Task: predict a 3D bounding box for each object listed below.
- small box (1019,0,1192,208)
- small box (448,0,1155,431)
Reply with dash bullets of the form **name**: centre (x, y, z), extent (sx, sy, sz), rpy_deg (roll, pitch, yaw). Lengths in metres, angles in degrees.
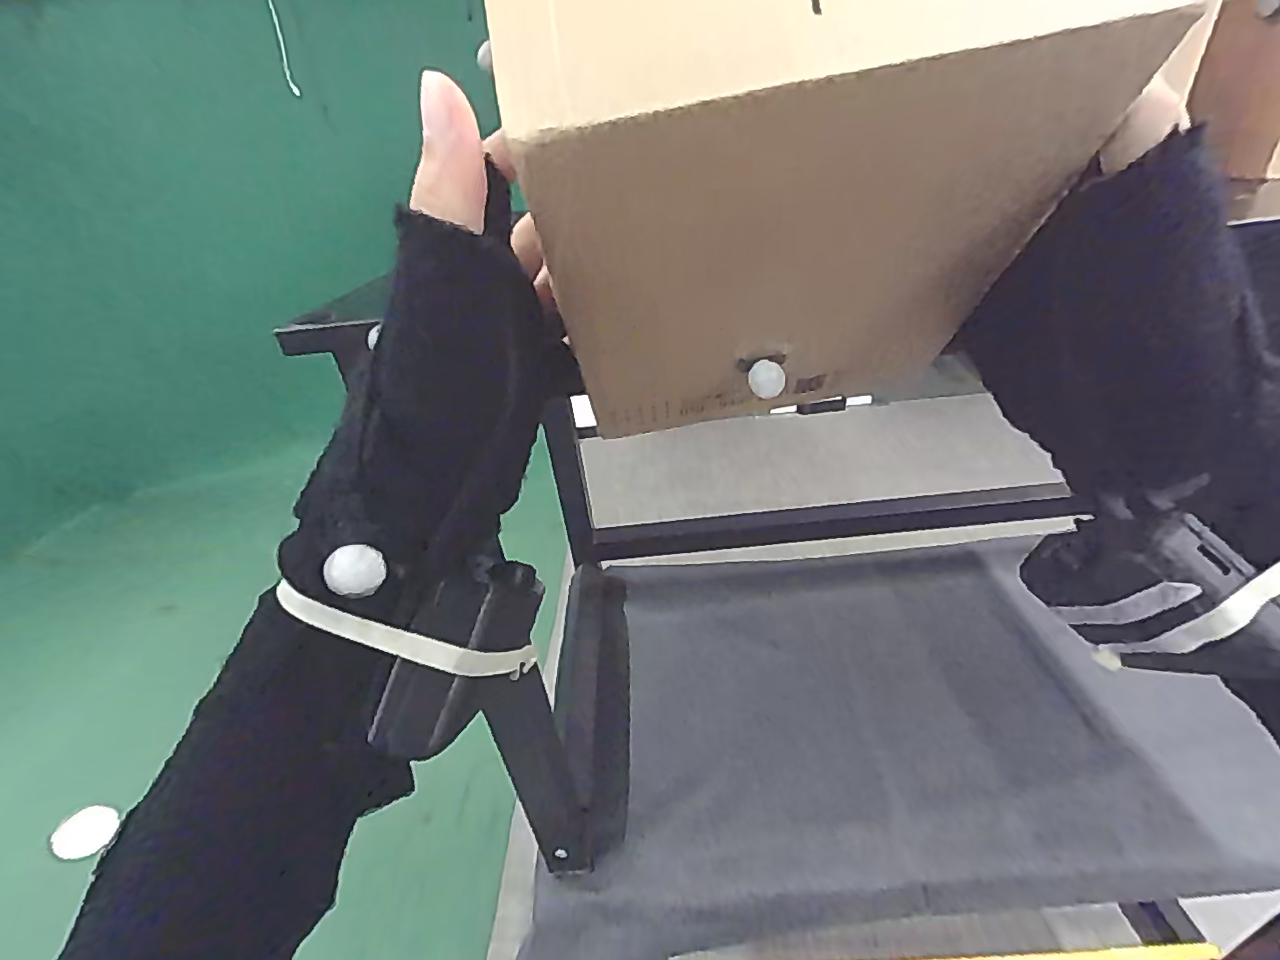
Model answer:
- **small box**: centre (0.262, -0.303, 0.409), extent (0.168, 0.176, 0.179), rpy_deg (-4, 31, 5)
- **small box**: centre (0.031, -0.143, 0.228), extent (0.168, 0.176, 0.179), rpy_deg (-10, 70, 2)
